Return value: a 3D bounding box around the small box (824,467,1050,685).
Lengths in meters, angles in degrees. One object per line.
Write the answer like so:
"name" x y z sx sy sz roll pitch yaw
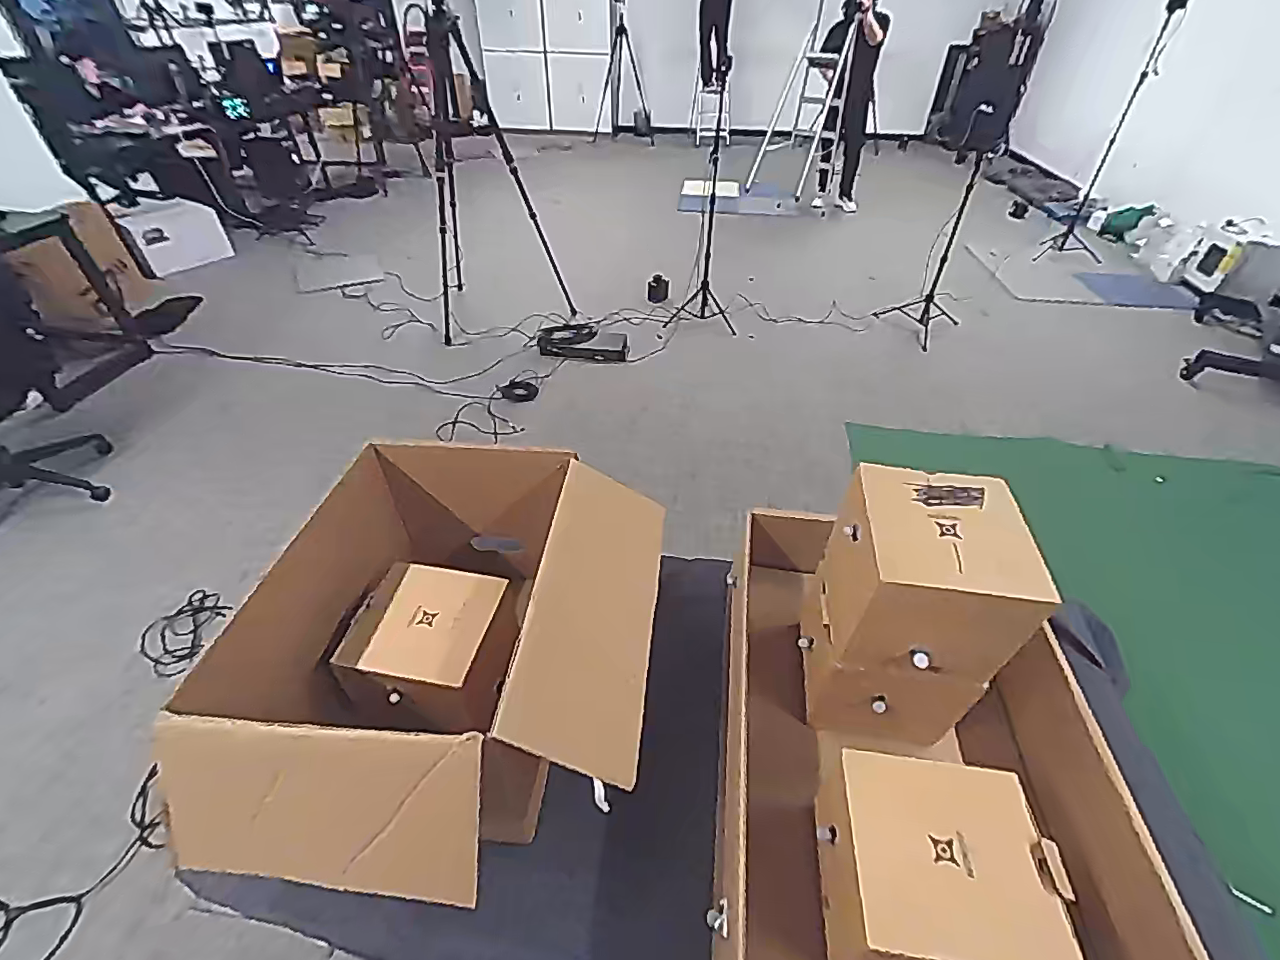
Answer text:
"small box" 0.323 0.111 0.637 0.168 0.176 0.179 7 45 6
